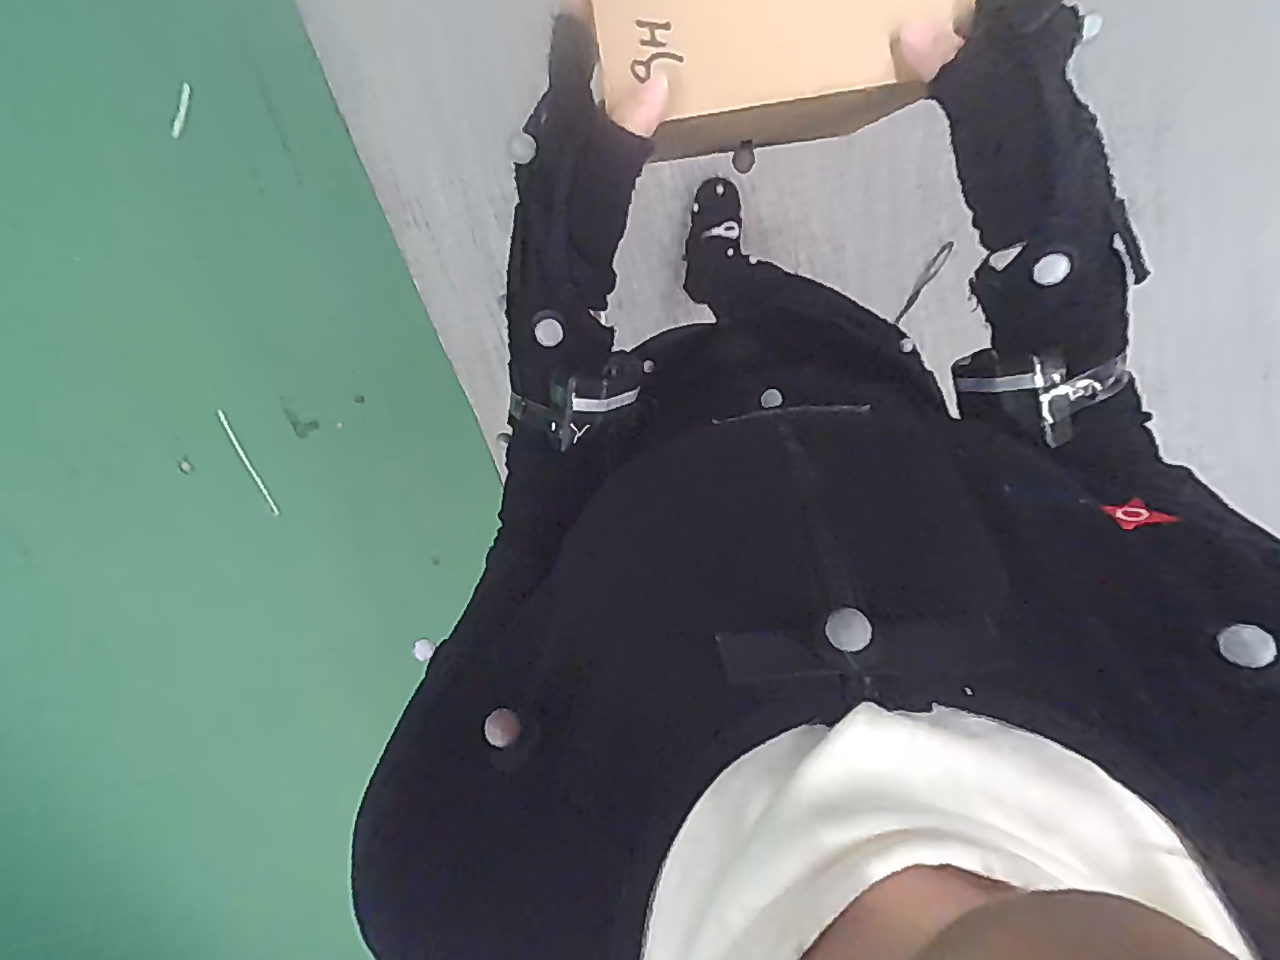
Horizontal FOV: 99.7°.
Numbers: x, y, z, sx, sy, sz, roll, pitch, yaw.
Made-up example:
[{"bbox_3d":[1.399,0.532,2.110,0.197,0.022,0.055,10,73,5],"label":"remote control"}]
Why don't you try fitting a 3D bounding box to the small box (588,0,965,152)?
[{"bbox_3d":[0.057,-0.297,0.301,0.179,0.176,0.168,-6,113,2],"label":"small box"}]
